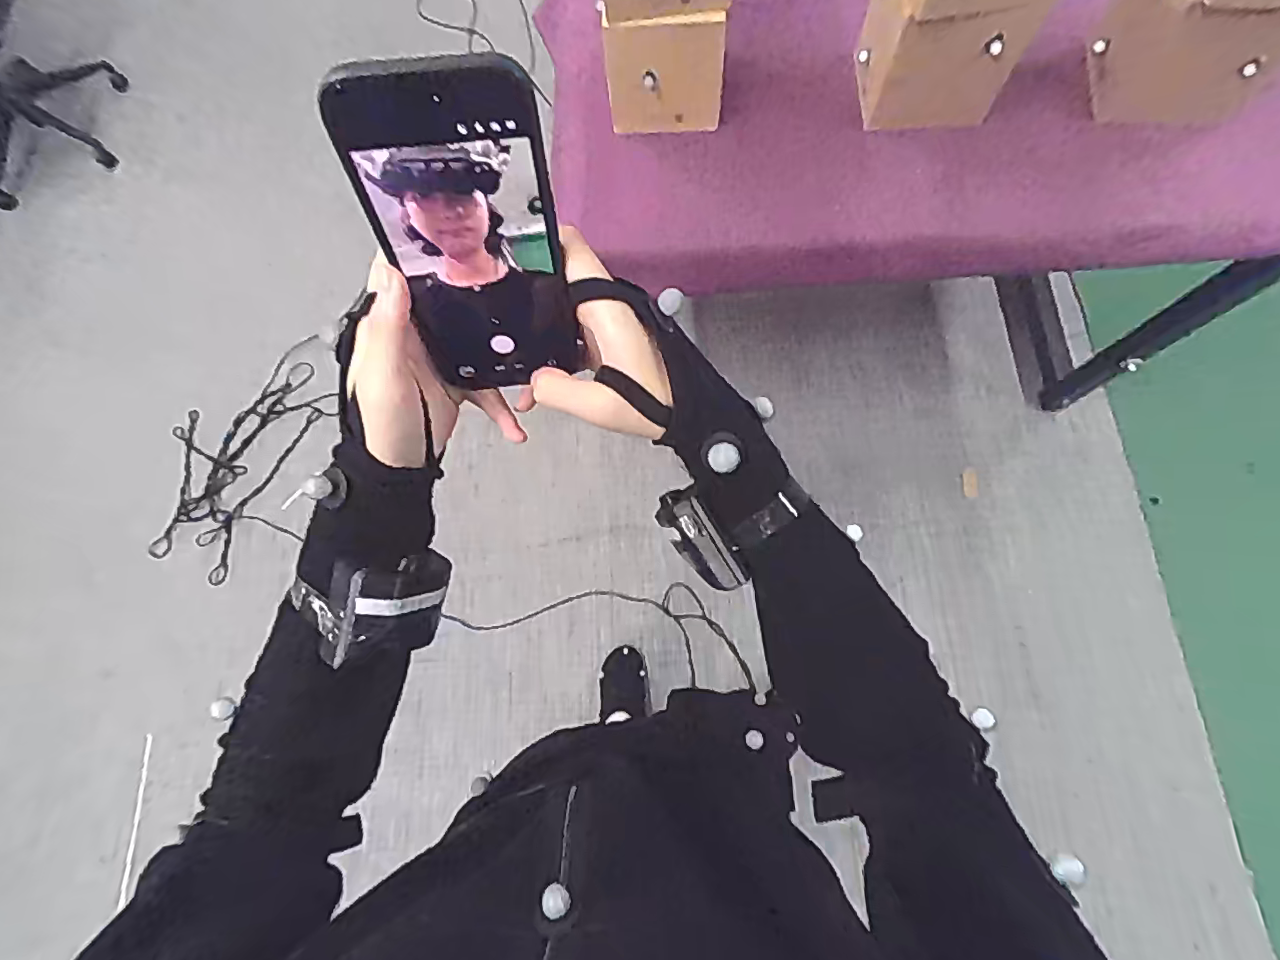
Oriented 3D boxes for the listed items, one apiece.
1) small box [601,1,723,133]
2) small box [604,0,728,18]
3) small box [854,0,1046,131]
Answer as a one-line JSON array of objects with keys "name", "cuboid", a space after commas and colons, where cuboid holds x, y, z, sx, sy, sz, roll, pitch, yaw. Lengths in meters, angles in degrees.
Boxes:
[{"name": "small box", "cuboid": [0.039, -0.654, 0.813, 0.168, 0.176, 0.179, 0, 74, 4]}, {"name": "small box", "cuboid": [0.026, -0.708, 0.659, 0.168, 0.176, 0.179, -5, 74, 2]}, {"name": "small box", "cuboid": [0.428, -0.637, 0.777, 0.179, 0.176, 0.168, 0, 73, 4]}]
